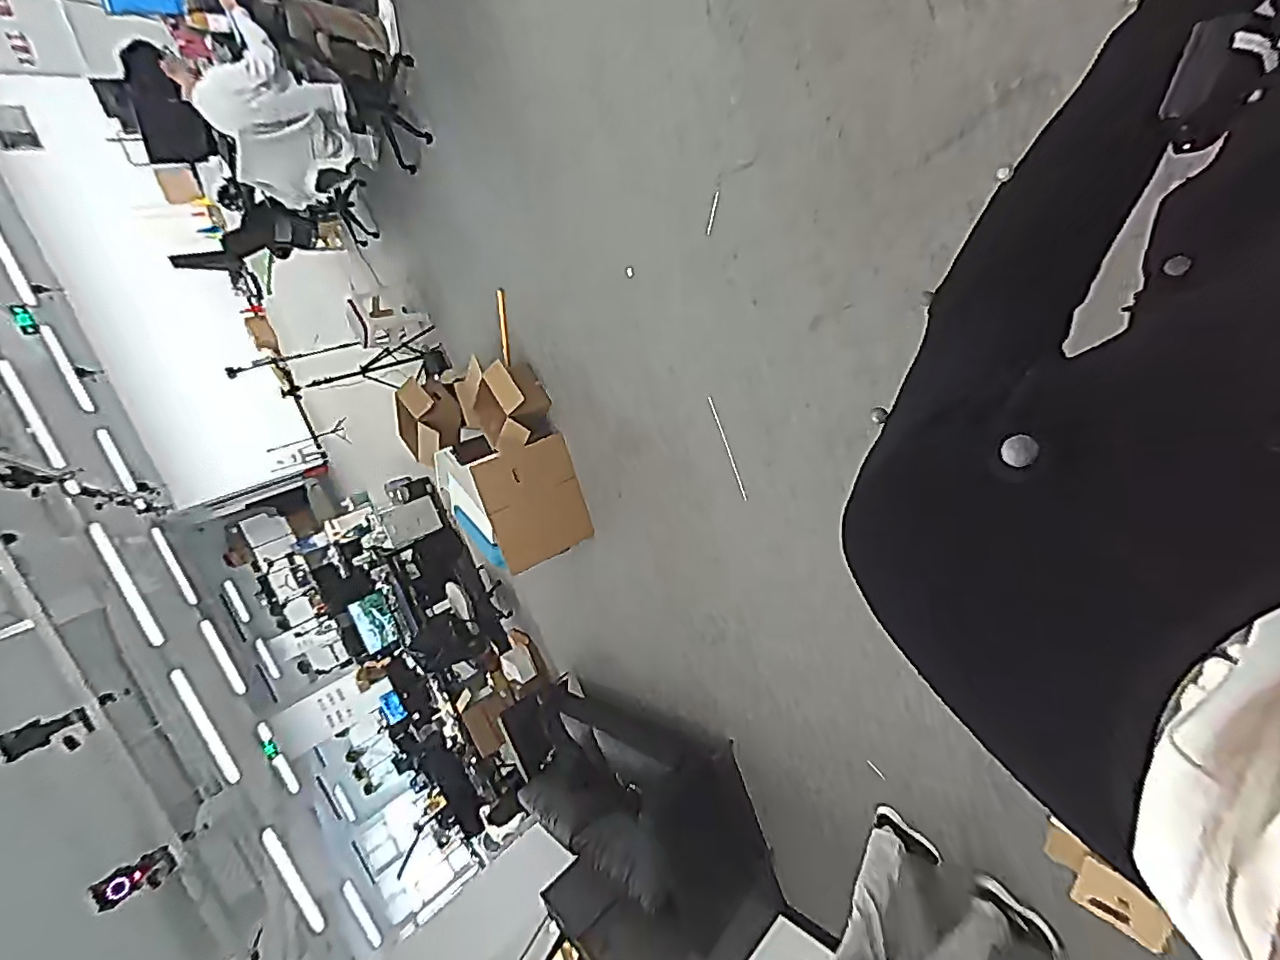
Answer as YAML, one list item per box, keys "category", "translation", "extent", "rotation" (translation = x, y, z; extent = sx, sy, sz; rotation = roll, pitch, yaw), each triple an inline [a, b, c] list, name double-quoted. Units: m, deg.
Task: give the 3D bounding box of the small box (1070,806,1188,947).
- category: "small box"
  translation: [1.175, 0.944, 1.300]
  extent: [0.168, 0.176, 0.179]
  rotation: [21, 126, 45]
